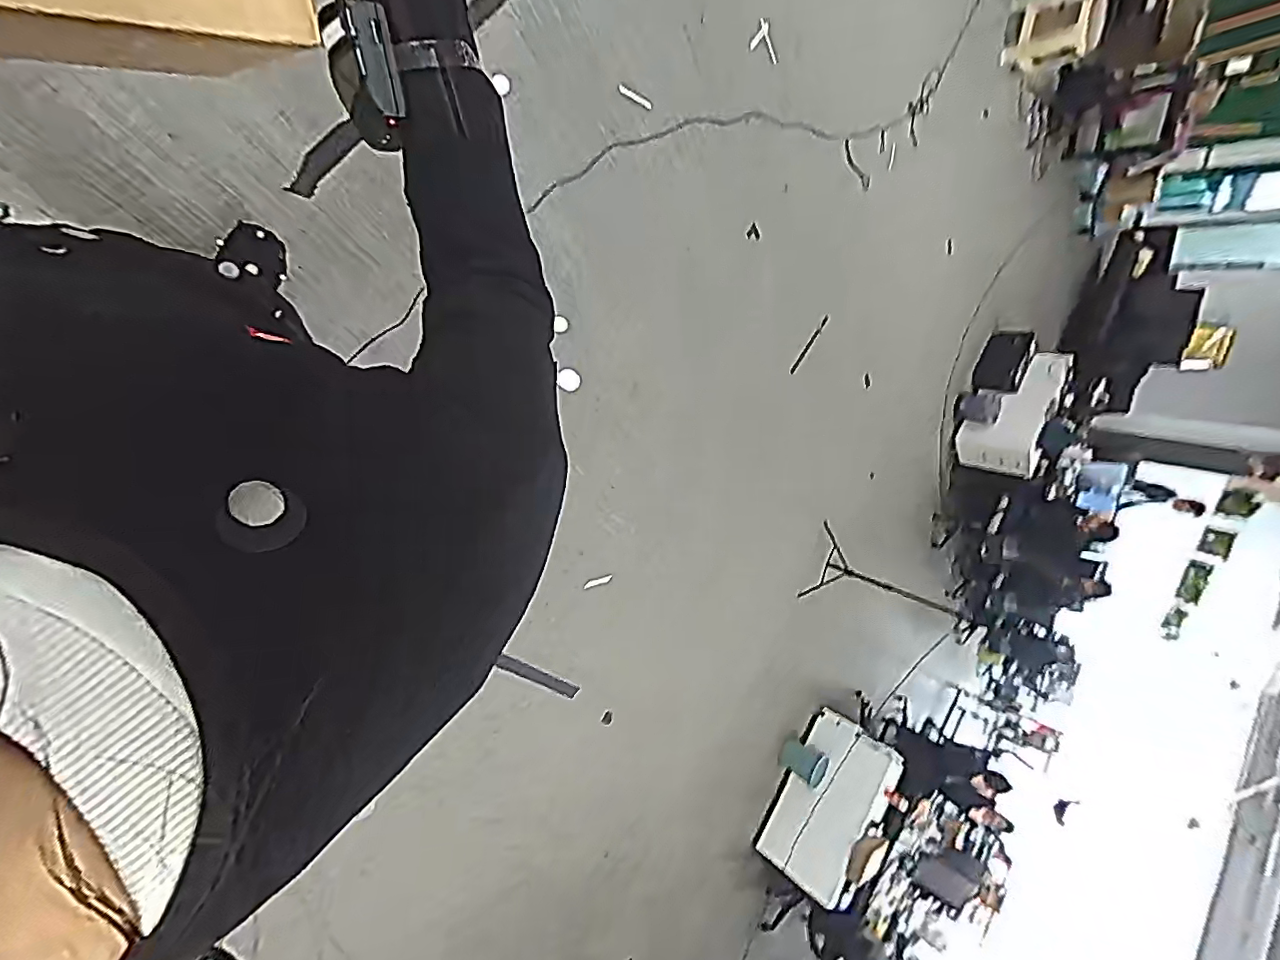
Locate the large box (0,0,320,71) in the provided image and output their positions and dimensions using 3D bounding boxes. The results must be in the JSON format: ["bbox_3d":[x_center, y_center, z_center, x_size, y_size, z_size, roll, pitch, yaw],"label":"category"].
[{"bbox_3d":[-0.439,-0.390,0.230,0.408,0.320,0.320,-25,132,-36],"label":"large box"}]
